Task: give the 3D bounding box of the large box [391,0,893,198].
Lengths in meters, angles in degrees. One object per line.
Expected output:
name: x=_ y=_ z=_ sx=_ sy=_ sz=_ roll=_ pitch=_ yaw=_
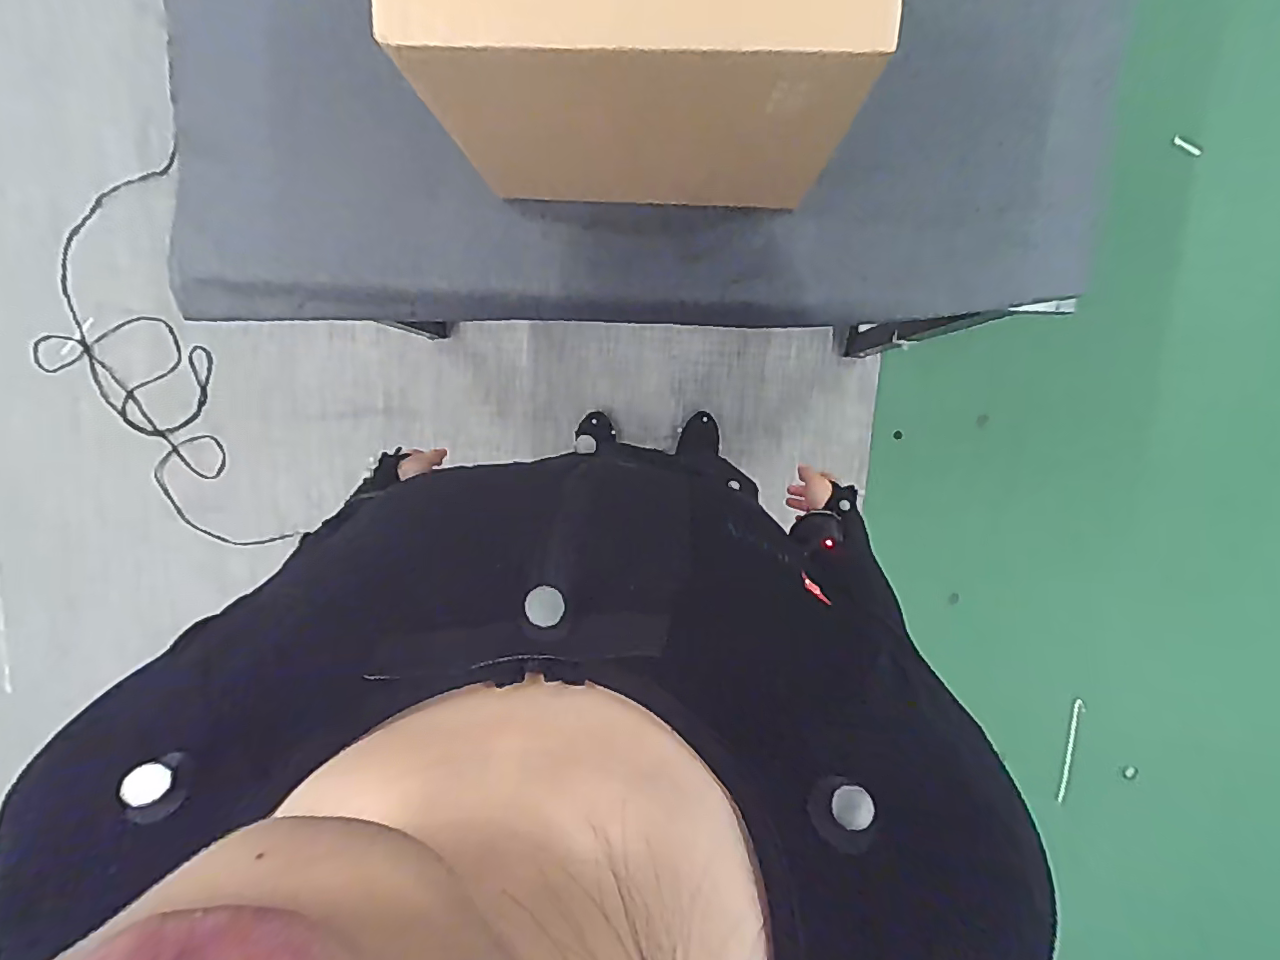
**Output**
large box: x=0.005 y=-0.511 z=0.559 sx=0.408 sy=0.320 sz=0.320 roll=2 pitch=98 yaw=2
